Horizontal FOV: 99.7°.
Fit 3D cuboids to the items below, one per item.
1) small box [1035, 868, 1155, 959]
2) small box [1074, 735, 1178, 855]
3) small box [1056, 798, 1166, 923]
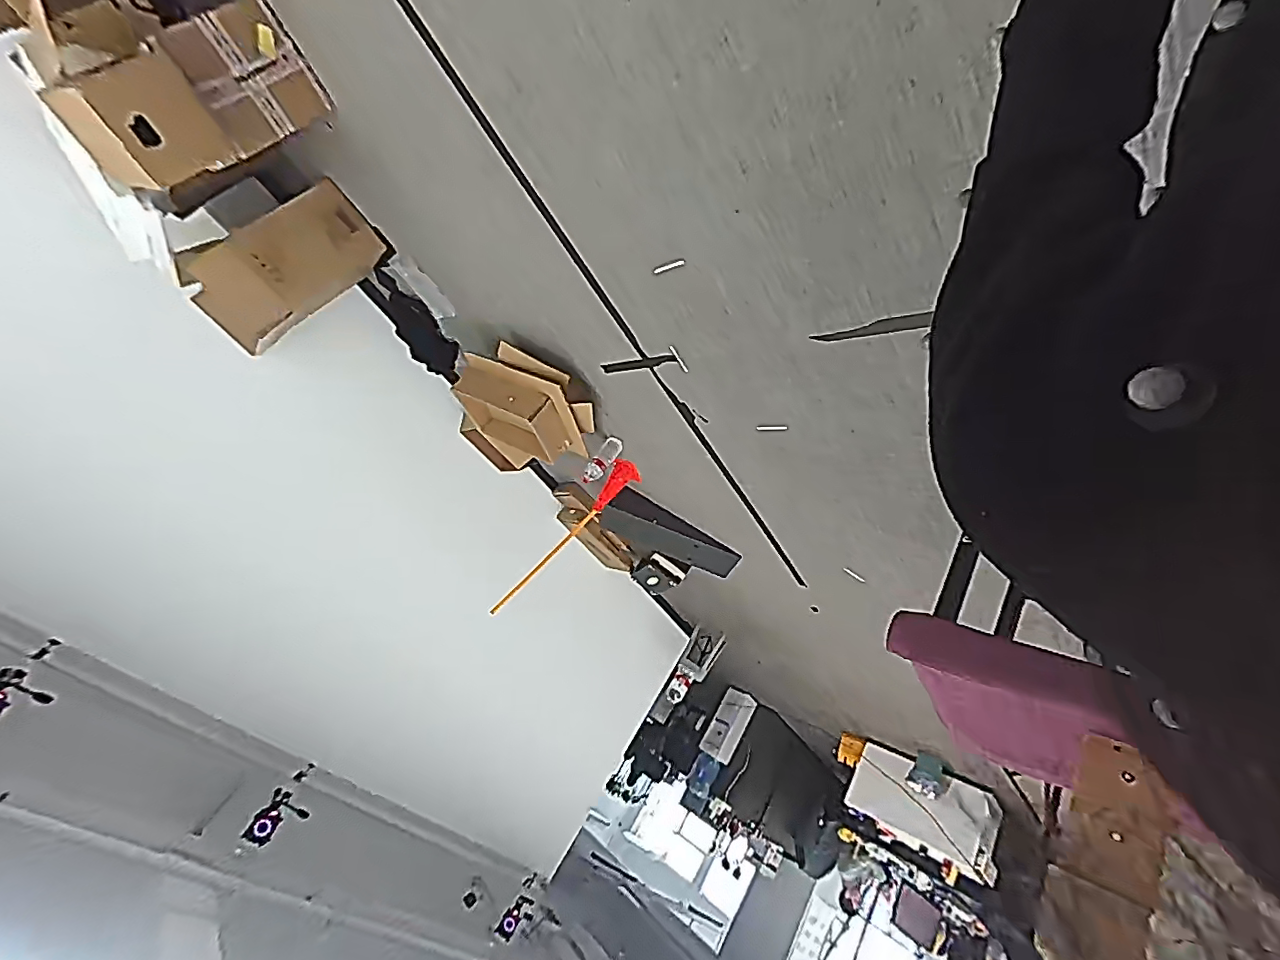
[{"bbox_3d":[0.962,0.968,1.142,0.168,0.176,0.179,5,142,50],"label":"small box"},{"bbox_3d":[1.149,0.739,1.281,0.168,0.176,0.179,8,144,47],"label":"small box"},{"bbox_3d":[1.062,0.862,1.218,0.168,0.176,0.179,7,142,47],"label":"small box"}]
